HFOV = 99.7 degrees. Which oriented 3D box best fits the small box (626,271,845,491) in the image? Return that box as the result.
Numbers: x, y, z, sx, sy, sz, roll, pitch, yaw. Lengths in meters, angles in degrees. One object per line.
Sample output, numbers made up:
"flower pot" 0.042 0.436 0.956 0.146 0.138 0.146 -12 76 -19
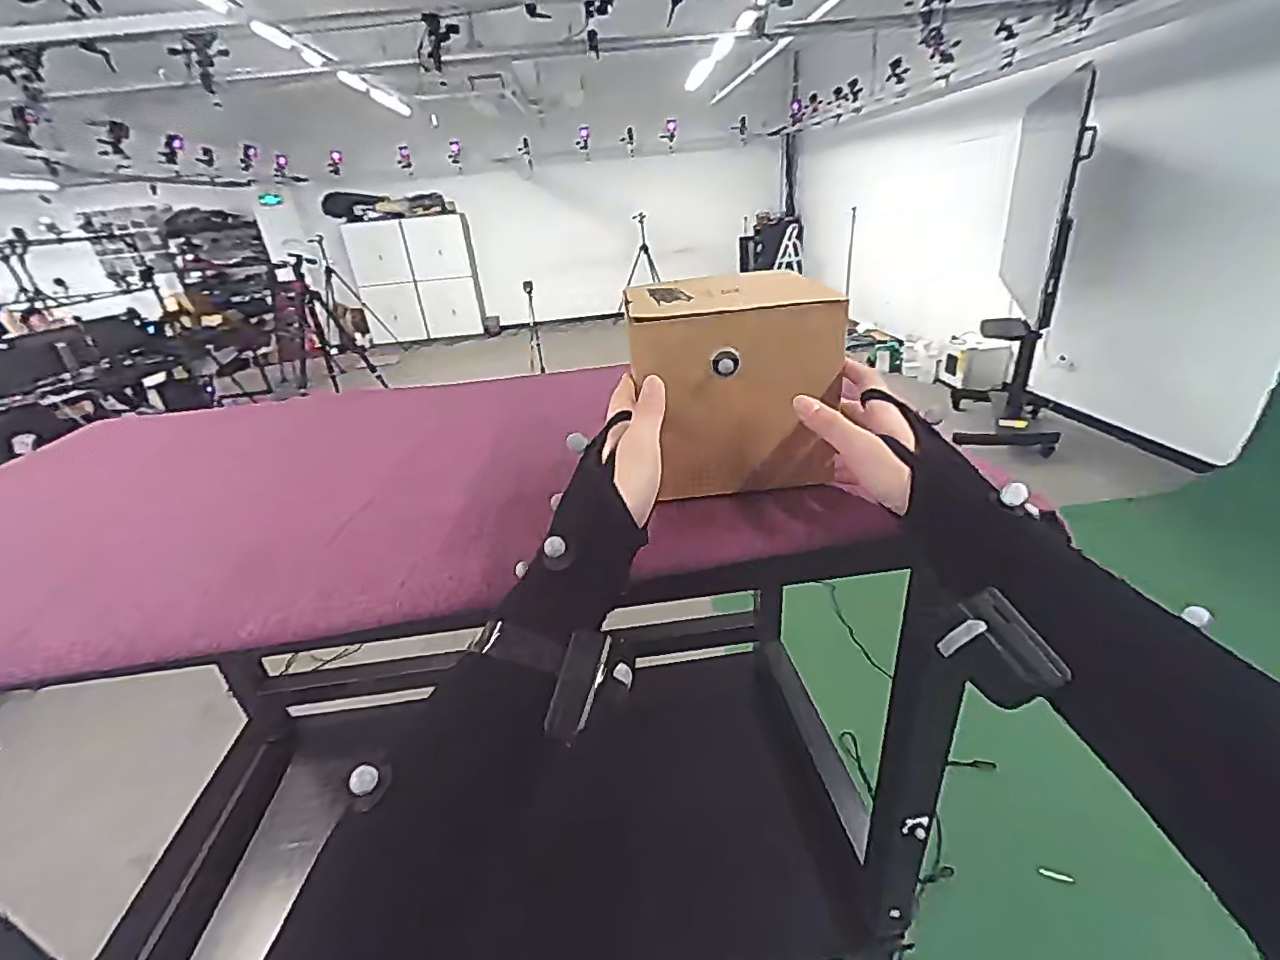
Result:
"small box" 0.082 -0.100 0.536 0.179 0.176 0.168 -5 30 0
